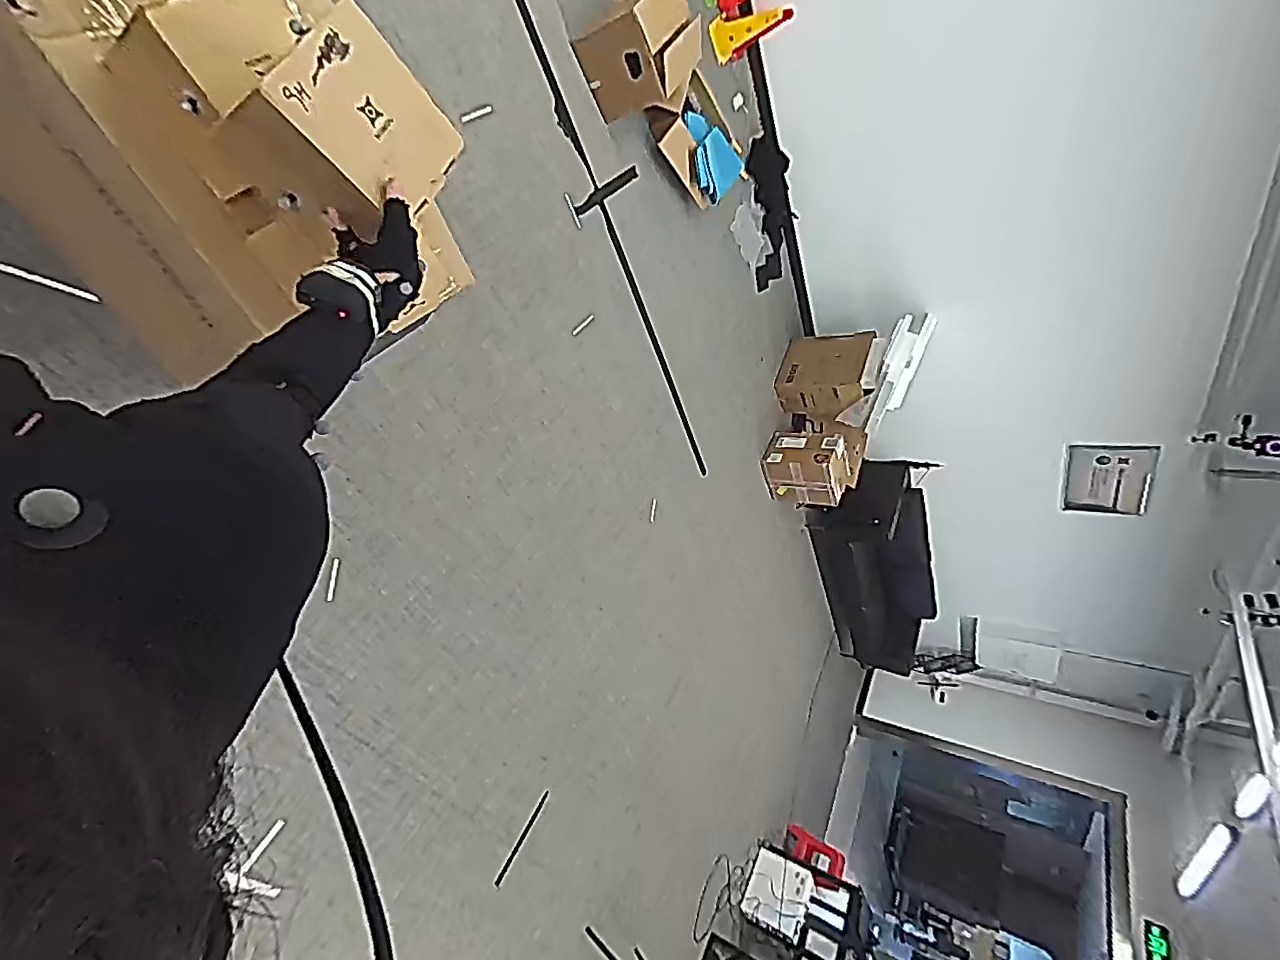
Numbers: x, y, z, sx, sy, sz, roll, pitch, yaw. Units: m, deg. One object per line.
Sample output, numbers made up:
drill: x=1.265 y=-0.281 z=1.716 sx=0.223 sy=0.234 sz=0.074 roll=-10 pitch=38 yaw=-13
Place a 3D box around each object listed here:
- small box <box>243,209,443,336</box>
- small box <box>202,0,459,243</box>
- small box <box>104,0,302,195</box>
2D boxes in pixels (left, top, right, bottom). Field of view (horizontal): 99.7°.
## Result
small box: x=-0.446 y=-0.333 z=0.822 sx=0.168 sy=0.176 sz=0.179 roll=-53 pitch=131 yaw=-36
small box: x=-0.364 y=-0.410 z=0.649 sx=0.179 sy=0.176 sz=0.168 roll=46 pitch=58 yaw=-47
small box: x=-0.522 y=-0.502 z=0.698 sx=0.168 sy=0.176 sz=0.179 roll=-56 pitch=137 yaw=-32
